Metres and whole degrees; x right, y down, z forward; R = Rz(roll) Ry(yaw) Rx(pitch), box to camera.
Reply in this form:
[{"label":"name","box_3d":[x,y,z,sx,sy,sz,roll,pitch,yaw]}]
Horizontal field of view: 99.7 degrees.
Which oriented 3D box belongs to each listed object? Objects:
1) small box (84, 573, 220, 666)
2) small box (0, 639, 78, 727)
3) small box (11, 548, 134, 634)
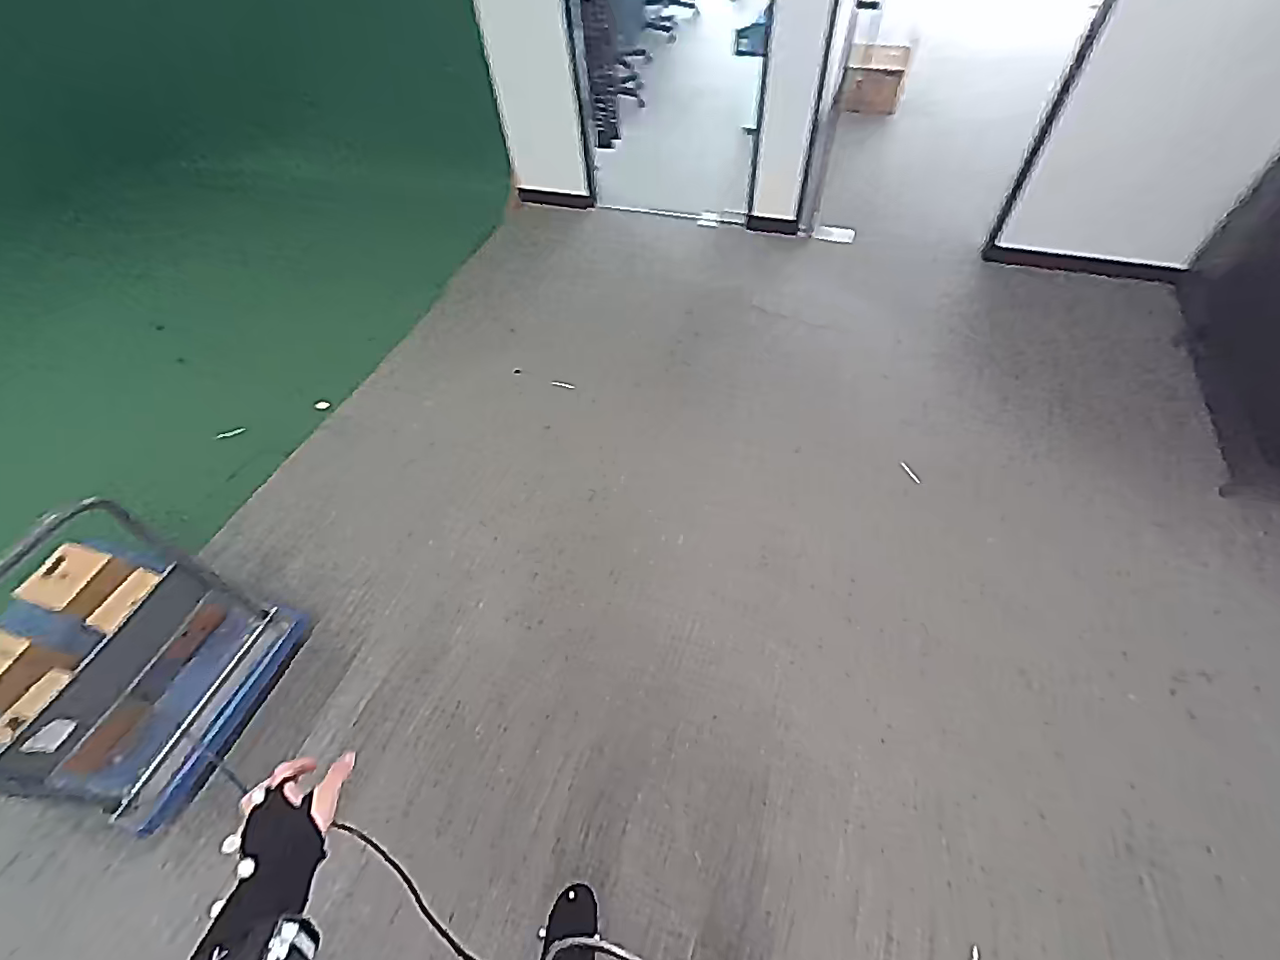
[{"label":"small box","box_3d":[-1.310,0.383,1.465,0.179,0.176,0.168,15,55,13]},{"label":"small box","box_3d":[-1.630,0.515,1.384,0.179,0.176,0.168,11,54,11]},{"label":"small box","box_3d":[-1.565,0.319,1.527,0.179,0.176,0.168,11,55,10]}]
